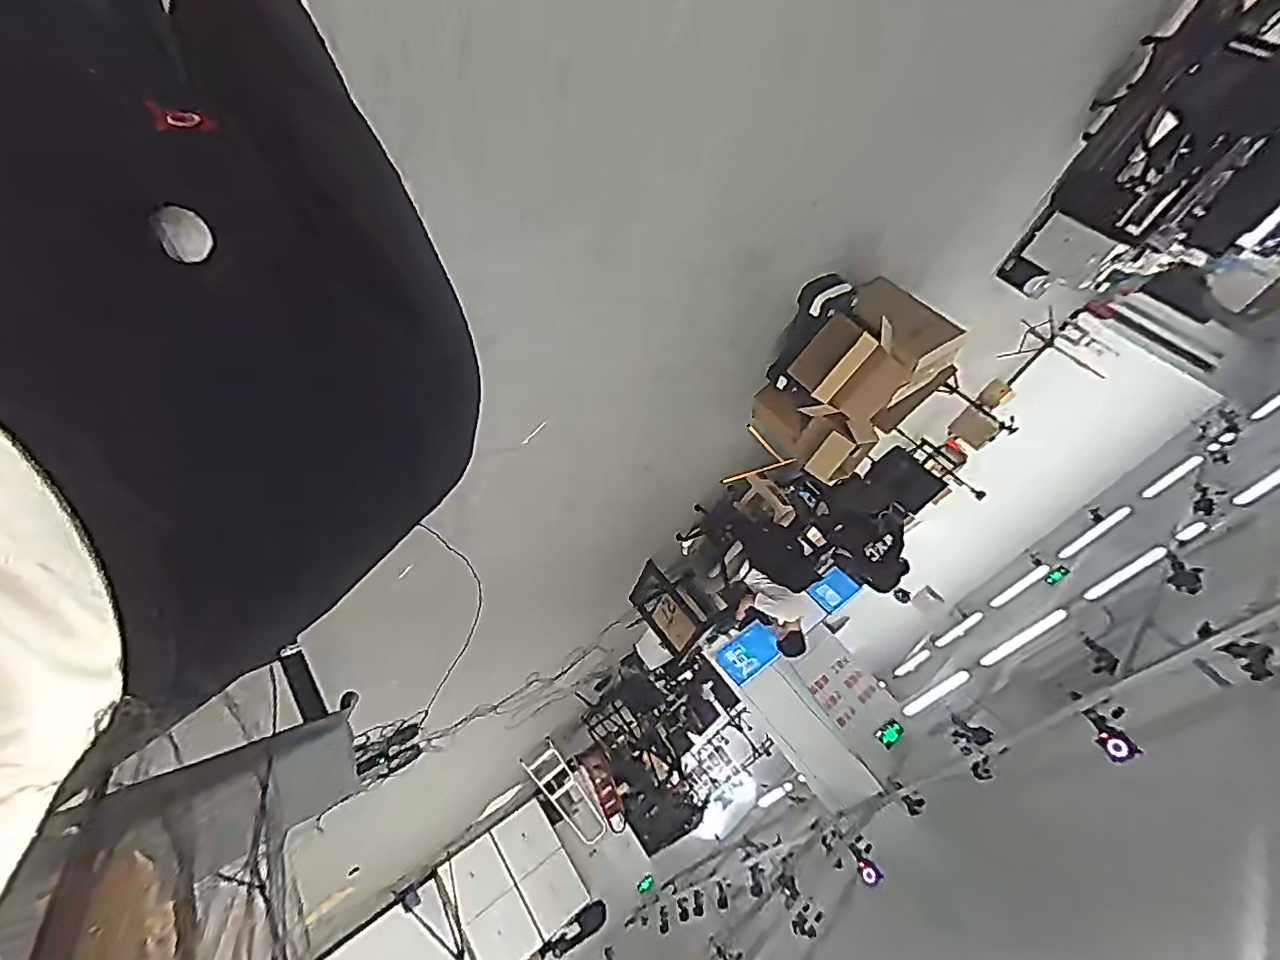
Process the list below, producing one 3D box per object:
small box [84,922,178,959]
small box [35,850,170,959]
[{"bbox_3d":[-1.133,1.113,1.178,0.168,0.176,0.179,-22,148,-37],"label":"small box"},{"bbox_3d":[-1.231,0.999,1.244,0.179,0.176,0.168,-20,147,-38],"label":"small box"}]
